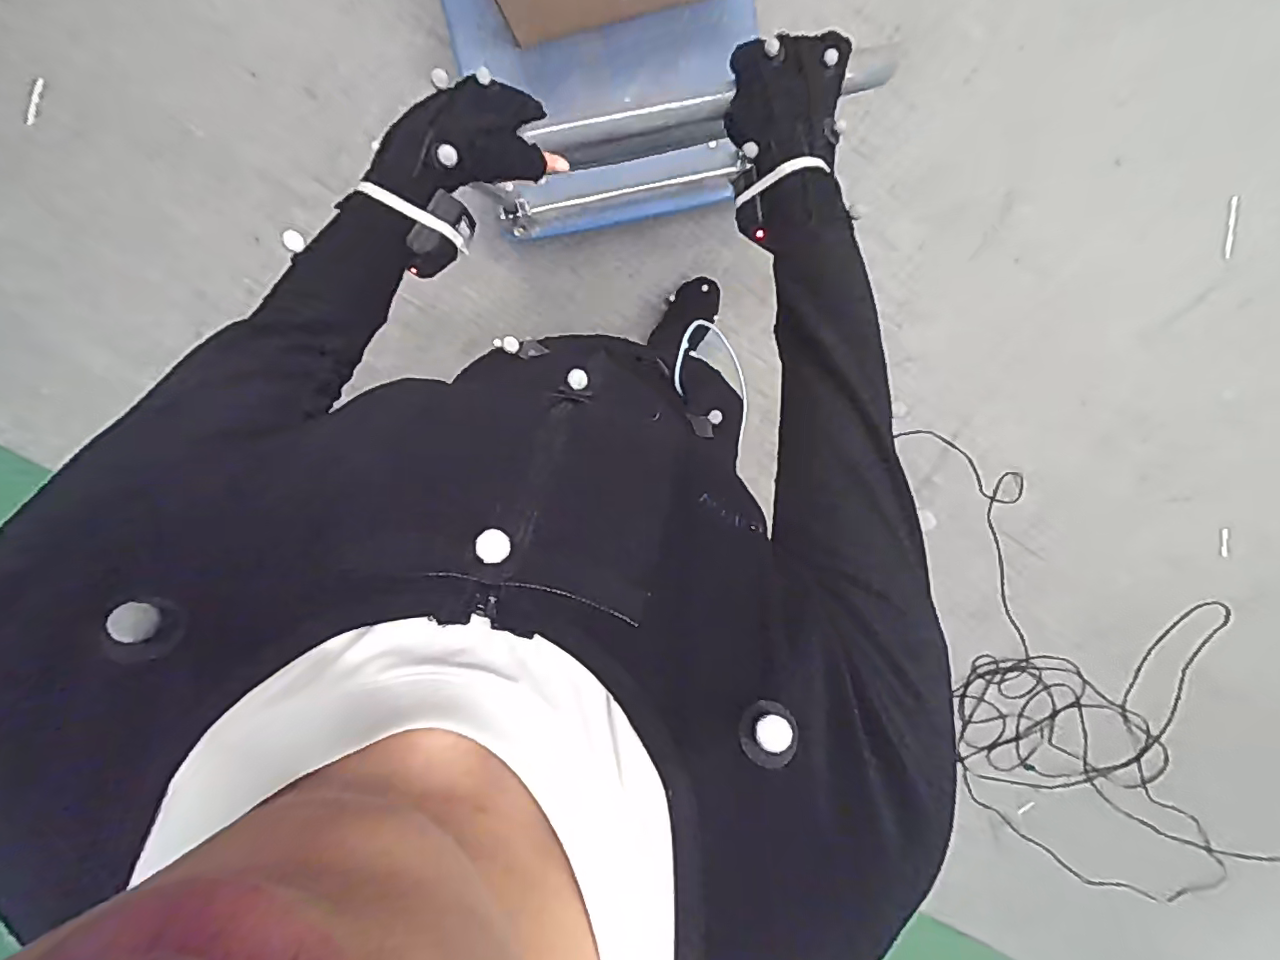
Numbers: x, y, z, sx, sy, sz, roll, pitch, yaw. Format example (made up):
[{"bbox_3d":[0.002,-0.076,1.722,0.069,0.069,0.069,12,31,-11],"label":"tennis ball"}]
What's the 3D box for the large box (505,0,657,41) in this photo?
[{"bbox_3d":[-0.063,-0.970,0.833,0.408,0.320,0.320,-13,109,5],"label":"large box"}]
